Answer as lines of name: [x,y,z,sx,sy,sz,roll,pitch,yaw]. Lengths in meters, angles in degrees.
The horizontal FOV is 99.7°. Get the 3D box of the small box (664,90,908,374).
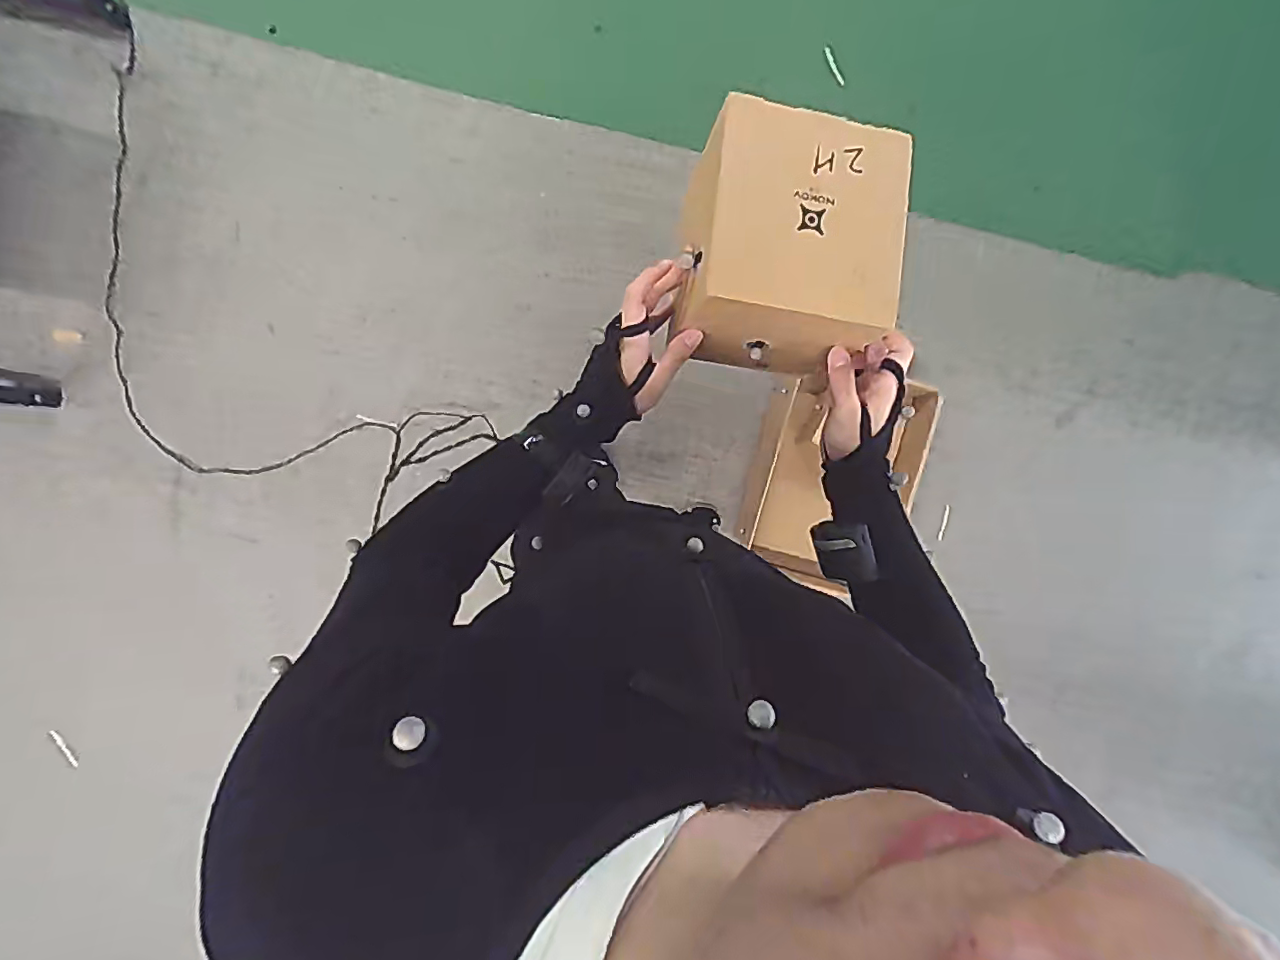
small box: [0.124,-0.213,0.518,0.168,0.176,0.179,8,85,-9]

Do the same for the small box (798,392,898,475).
small box: [0.565,-0.124,1.498,0.179,0.176,0.168,27,92,-3]
